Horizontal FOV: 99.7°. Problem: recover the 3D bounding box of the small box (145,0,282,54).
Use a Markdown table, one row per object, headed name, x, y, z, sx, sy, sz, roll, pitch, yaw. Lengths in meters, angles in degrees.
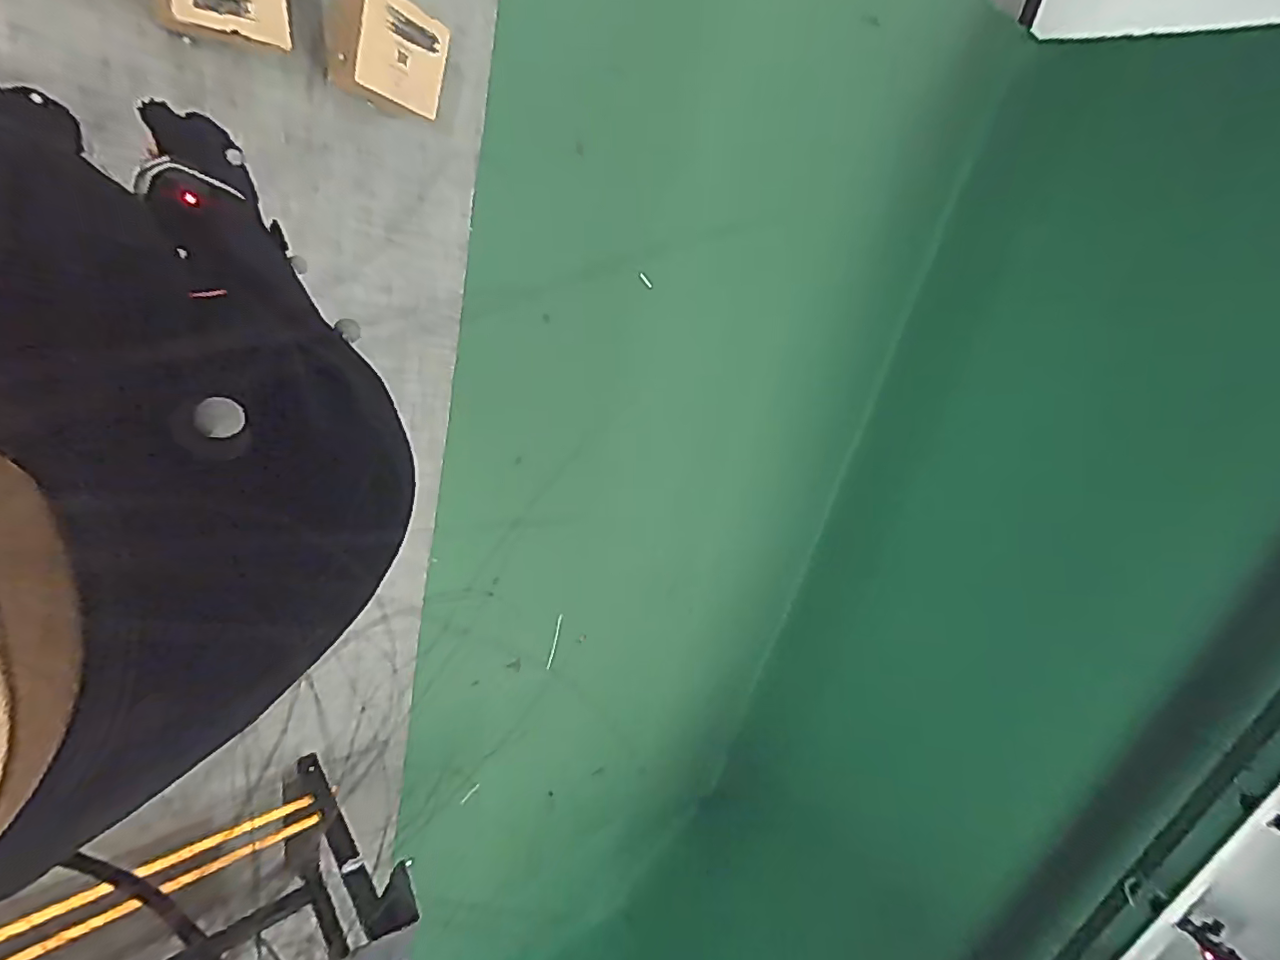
| name | x | y | z | sx | sy | sz | roll | pitch | yaw |
| --- | --- | --- | --- | --- | --- | --- | --- | --- | --- |
| small box | -0.729 | -0.849 | 0.911 | 0.168 | 0.176 | 0.179 | -17 | 125 | -42 |
